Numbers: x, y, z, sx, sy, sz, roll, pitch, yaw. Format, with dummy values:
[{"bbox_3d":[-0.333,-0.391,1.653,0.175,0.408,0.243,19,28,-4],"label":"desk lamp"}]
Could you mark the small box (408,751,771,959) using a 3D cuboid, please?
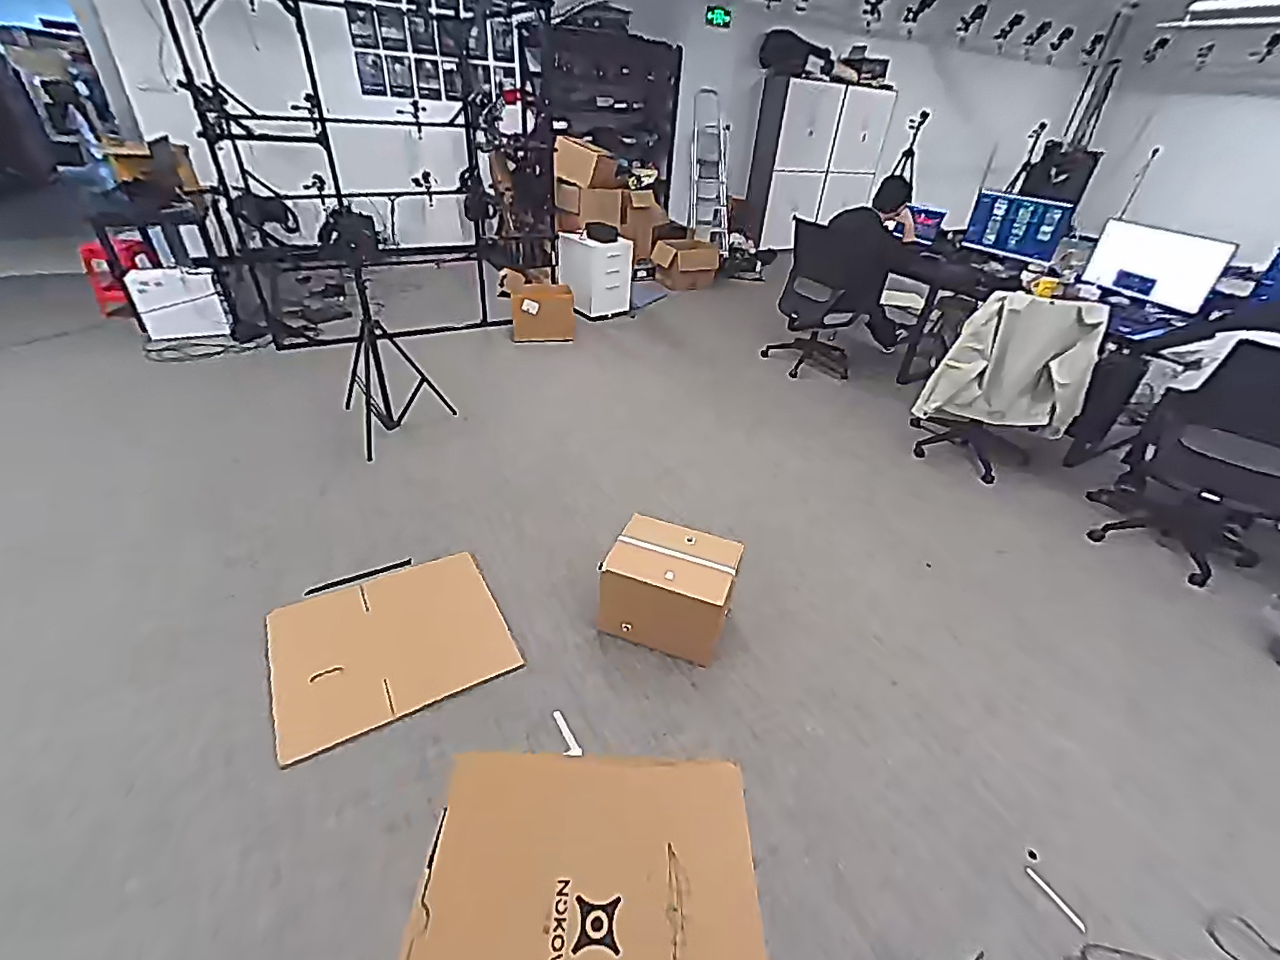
[{"bbox_3d":[-0.027,0.283,0.318,0.179,0.176,0.168,3,38,-3],"label":"small box"}]
